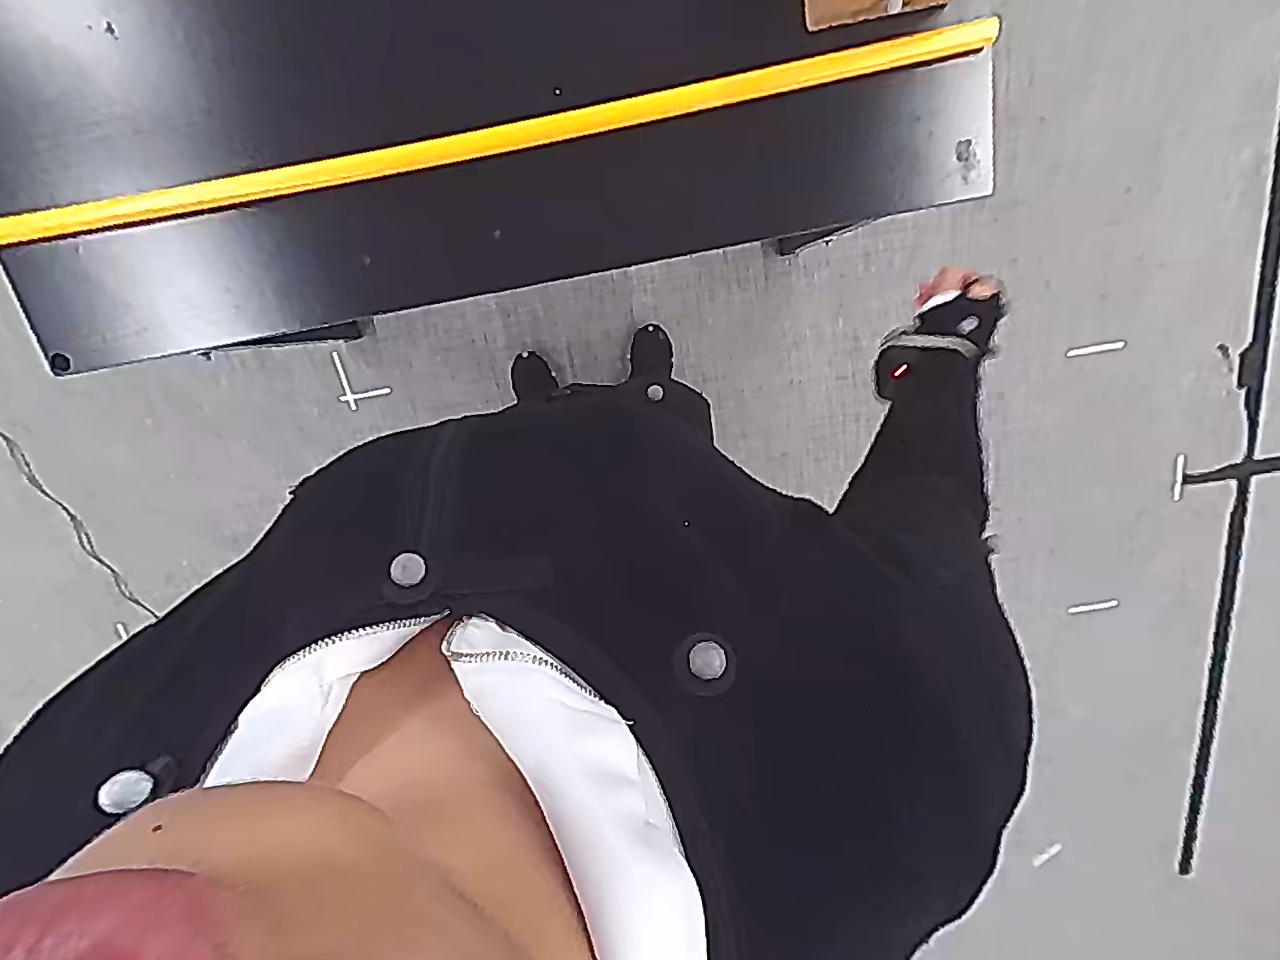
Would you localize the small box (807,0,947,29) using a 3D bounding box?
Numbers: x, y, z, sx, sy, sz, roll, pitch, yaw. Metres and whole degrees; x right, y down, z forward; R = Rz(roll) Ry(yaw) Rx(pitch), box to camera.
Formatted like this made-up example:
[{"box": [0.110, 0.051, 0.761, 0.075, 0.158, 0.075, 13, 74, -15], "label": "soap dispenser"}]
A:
[{"box": [0.259, -0.584, 0.513, 0.168, 0.176, 0.179, -9, 107, 2], "label": "small box"}]
